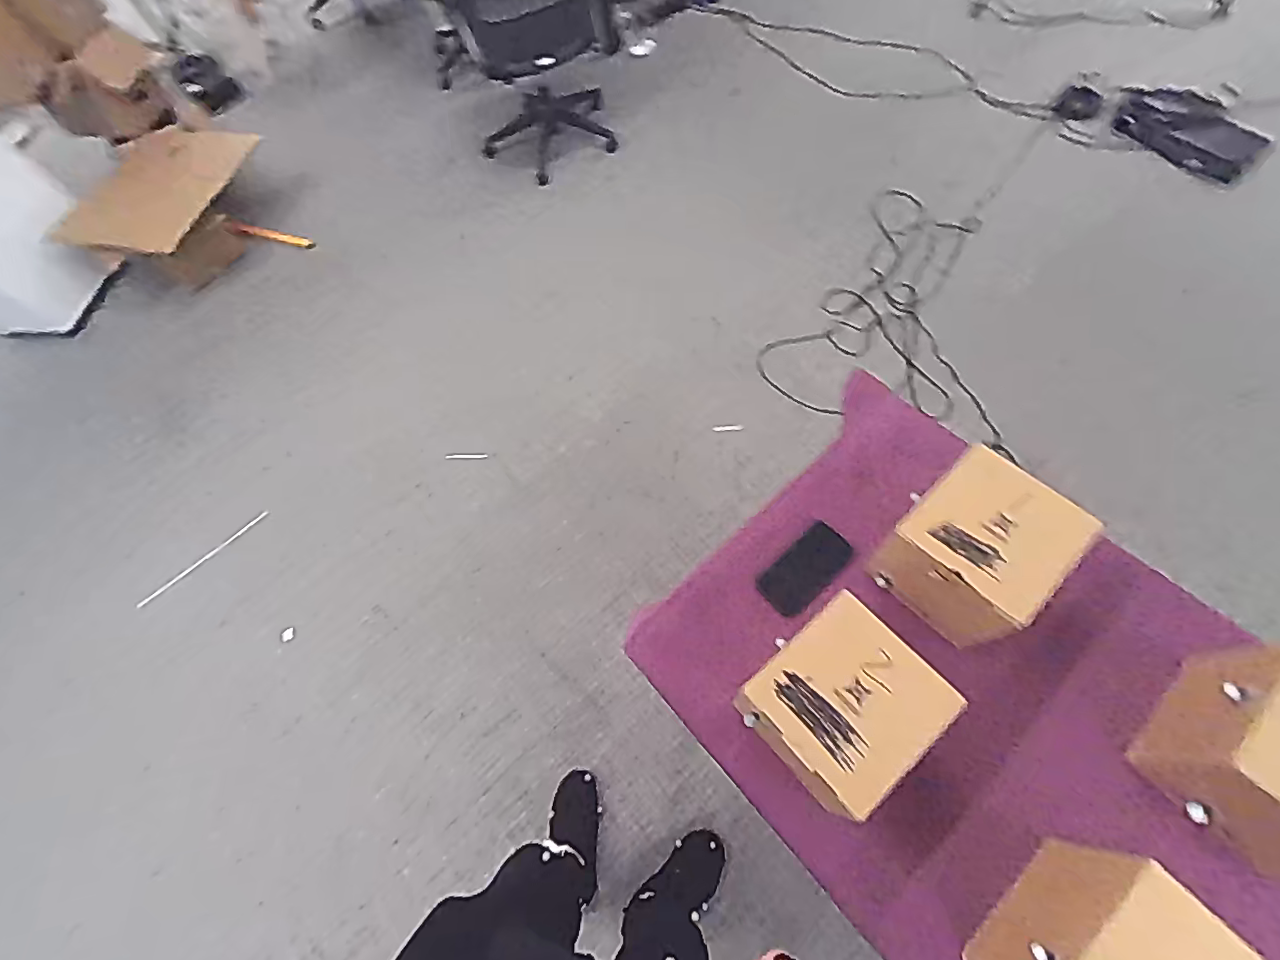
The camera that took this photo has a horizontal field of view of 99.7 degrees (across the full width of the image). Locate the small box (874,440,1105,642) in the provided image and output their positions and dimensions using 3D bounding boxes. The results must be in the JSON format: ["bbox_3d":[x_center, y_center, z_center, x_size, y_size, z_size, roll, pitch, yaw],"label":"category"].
[{"bbox_3d":[0.437,0.089,0.713,0.179,0.176,0.168,-41,66,-13],"label":"small box"}]

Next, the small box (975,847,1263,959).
[{"bbox_3d":[0.465,0.489,0.511,0.179,0.176,0.168,-39,66,-13],"label":"small box"}]

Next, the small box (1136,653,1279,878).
[{"bbox_3d":[0.700,0.302,0.575,0.179,0.176,0.168,-41,65,-12],"label":"small box"}]
